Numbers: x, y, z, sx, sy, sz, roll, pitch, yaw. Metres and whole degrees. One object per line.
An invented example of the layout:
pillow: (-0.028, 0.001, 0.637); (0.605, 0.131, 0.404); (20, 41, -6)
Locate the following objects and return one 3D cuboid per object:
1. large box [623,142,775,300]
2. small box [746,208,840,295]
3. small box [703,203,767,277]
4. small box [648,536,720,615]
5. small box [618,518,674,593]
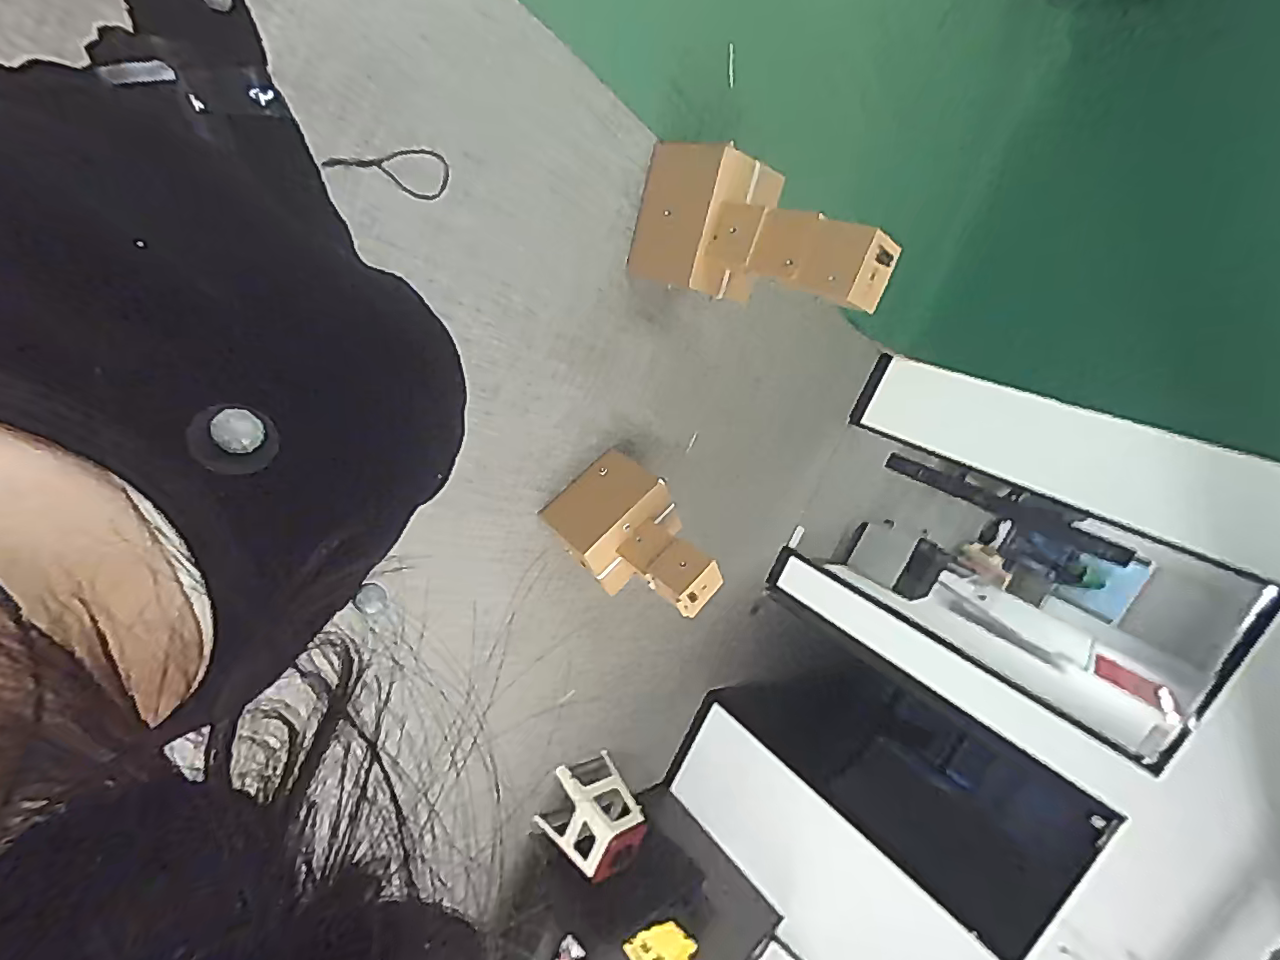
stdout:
large box: (0.184, -0.846, 1.794); (0.320, 0.320, 0.408); (-7, 118, -45)
small box: (0.427, -0.647, 1.530); (0.168, 0.176, 0.179); (3, 113, -47)
small box: (0.317, -0.718, 1.626); (0.179, 0.176, 0.168); (1, 114, -46)
small box: (0.148, 0.329, 1.881); (0.179, 0.176, 0.168); (-44, 140, -17)
small box: (0.039, 0.275, 1.993); (0.179, 0.176, 0.168); (-46, 141, -13)
